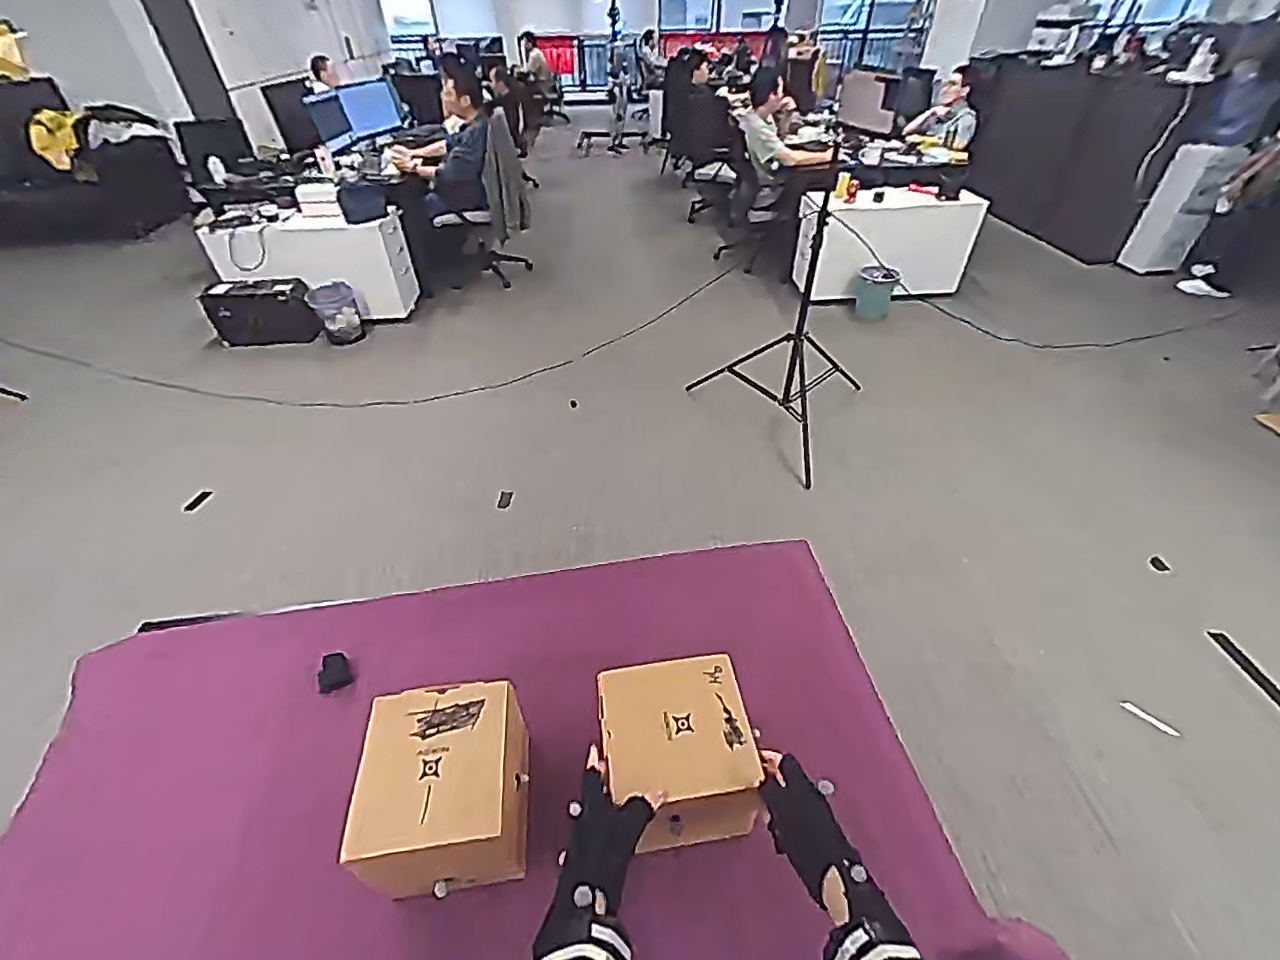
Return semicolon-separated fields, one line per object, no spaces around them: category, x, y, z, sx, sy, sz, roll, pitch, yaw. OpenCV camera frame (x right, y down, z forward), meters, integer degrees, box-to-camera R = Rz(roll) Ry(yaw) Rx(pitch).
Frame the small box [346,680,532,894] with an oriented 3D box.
small box;-0.230;0.379;0.673;0.168;0.176;0.179;-6;42;-5

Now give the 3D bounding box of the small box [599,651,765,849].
small box;0.047;0.349;0.699;0.179;0.176;0.168;-7;41;-5
